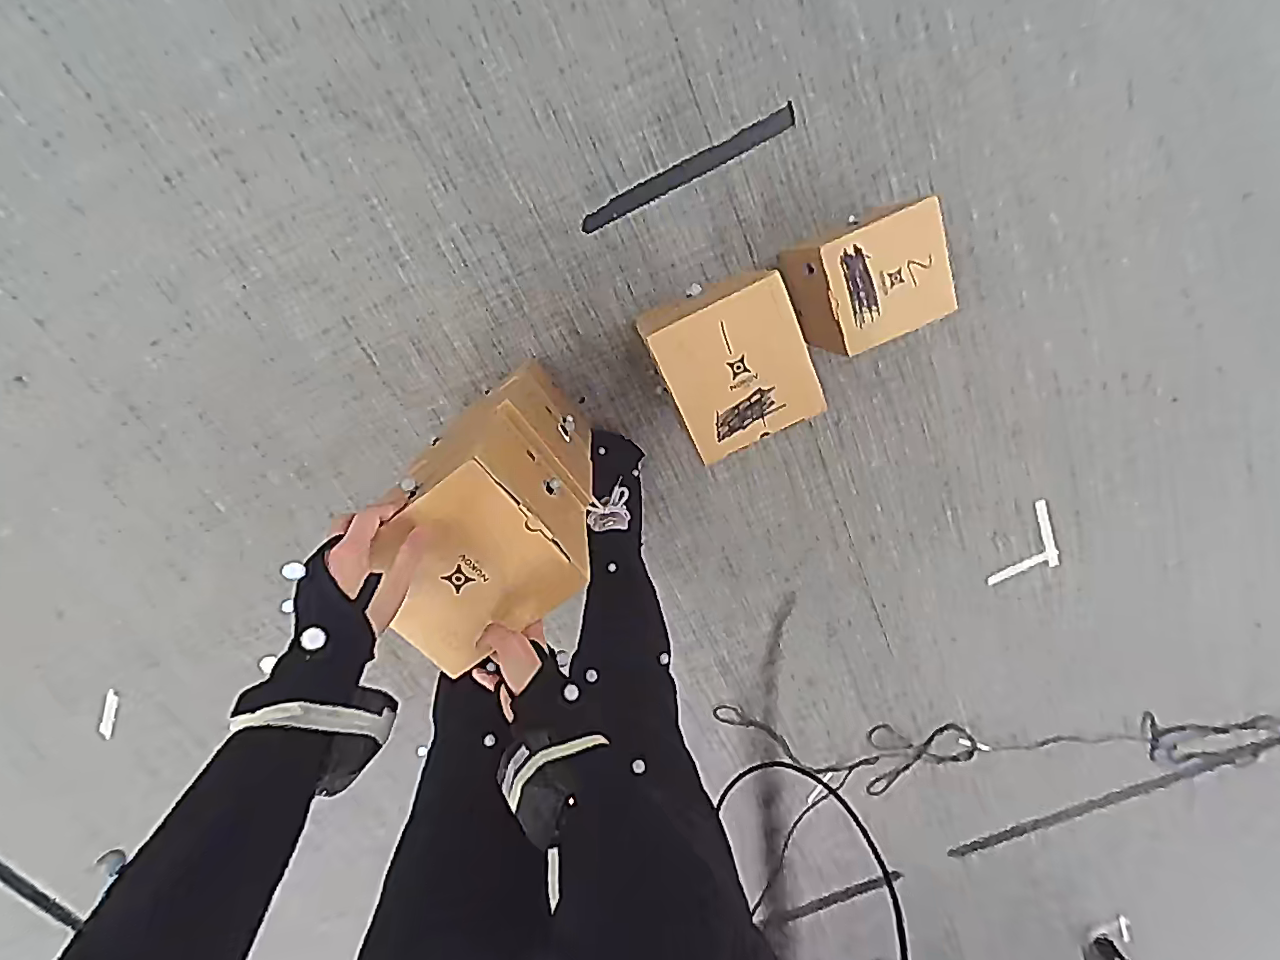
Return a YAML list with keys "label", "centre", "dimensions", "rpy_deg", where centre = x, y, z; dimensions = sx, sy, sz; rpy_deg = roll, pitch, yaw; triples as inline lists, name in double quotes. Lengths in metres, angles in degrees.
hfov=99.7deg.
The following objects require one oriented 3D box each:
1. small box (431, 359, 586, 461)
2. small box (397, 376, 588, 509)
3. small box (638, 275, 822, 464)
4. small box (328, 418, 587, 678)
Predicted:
- label: "small box"
  centre: [-0.200, -0.074, 0.886]
  dimensions: [0.179, 0.176, 0.168]
  rpy_deg: [-36, 111, 10]
- label: "small box"
  centre: [-0.184, -0.016, 0.734]
  dimensions: [0.179, 0.176, 0.168]
  rpy_deg: [-35, 111, 8]
- label: "small box"
  centre: [0.108, -0.152, 0.705]
  dimensions: [0.168, 0.176, 0.179]
  rpy_deg: [-25, 110, 5]
- label: "small box"
  centre: [-0.172, 0.061, 0.570]
  dimensions: [0.179, 0.176, 0.168]
  rpy_deg: [-36, 112, 6]
